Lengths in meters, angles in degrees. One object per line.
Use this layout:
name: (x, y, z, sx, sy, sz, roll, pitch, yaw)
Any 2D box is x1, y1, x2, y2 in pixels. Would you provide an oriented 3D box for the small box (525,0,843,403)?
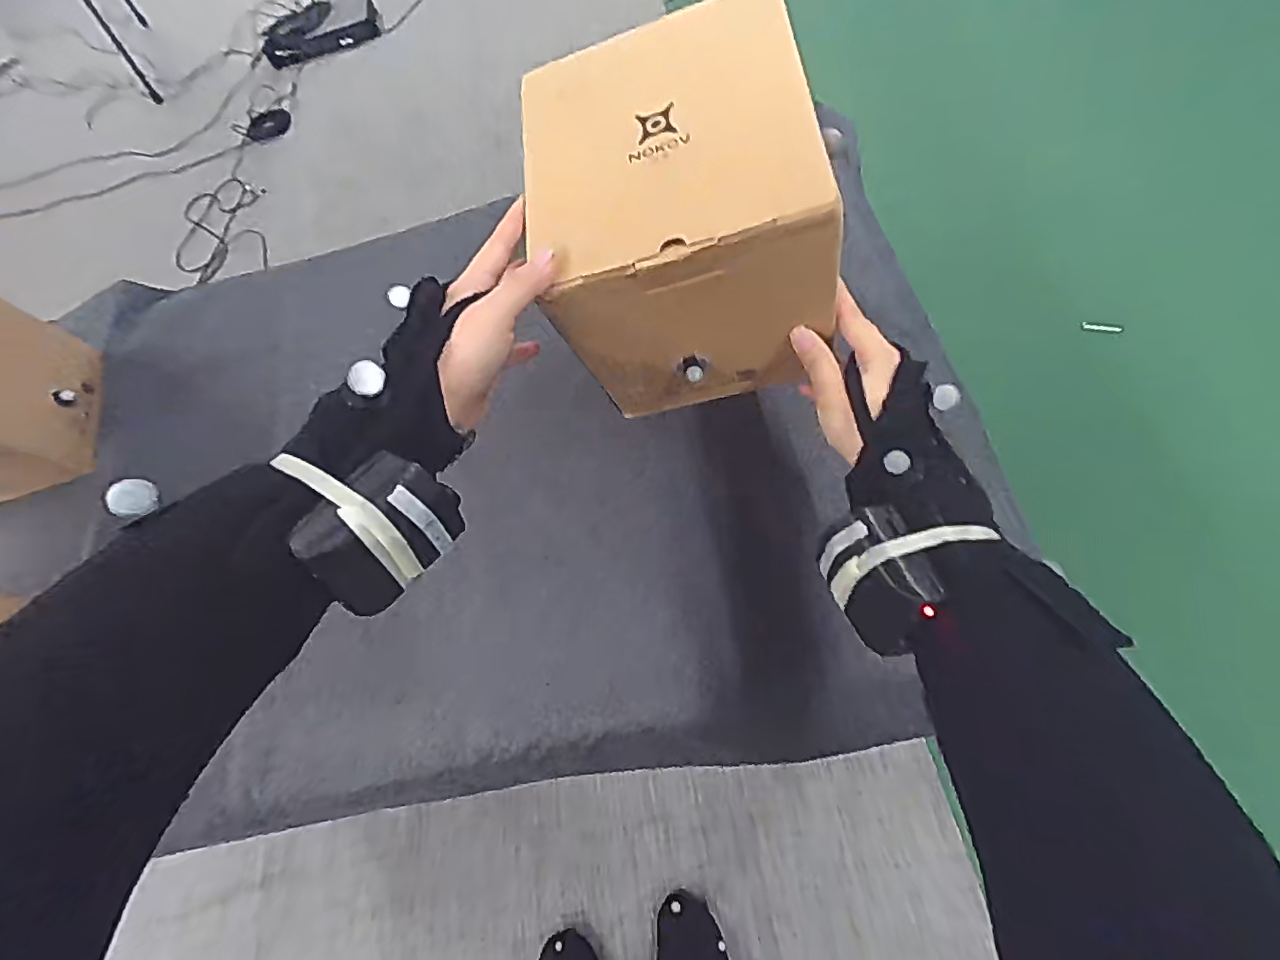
small box: (0.034, -0.178, 0.377, 0.168, 0.176, 0.179, -11, 71, 14)
